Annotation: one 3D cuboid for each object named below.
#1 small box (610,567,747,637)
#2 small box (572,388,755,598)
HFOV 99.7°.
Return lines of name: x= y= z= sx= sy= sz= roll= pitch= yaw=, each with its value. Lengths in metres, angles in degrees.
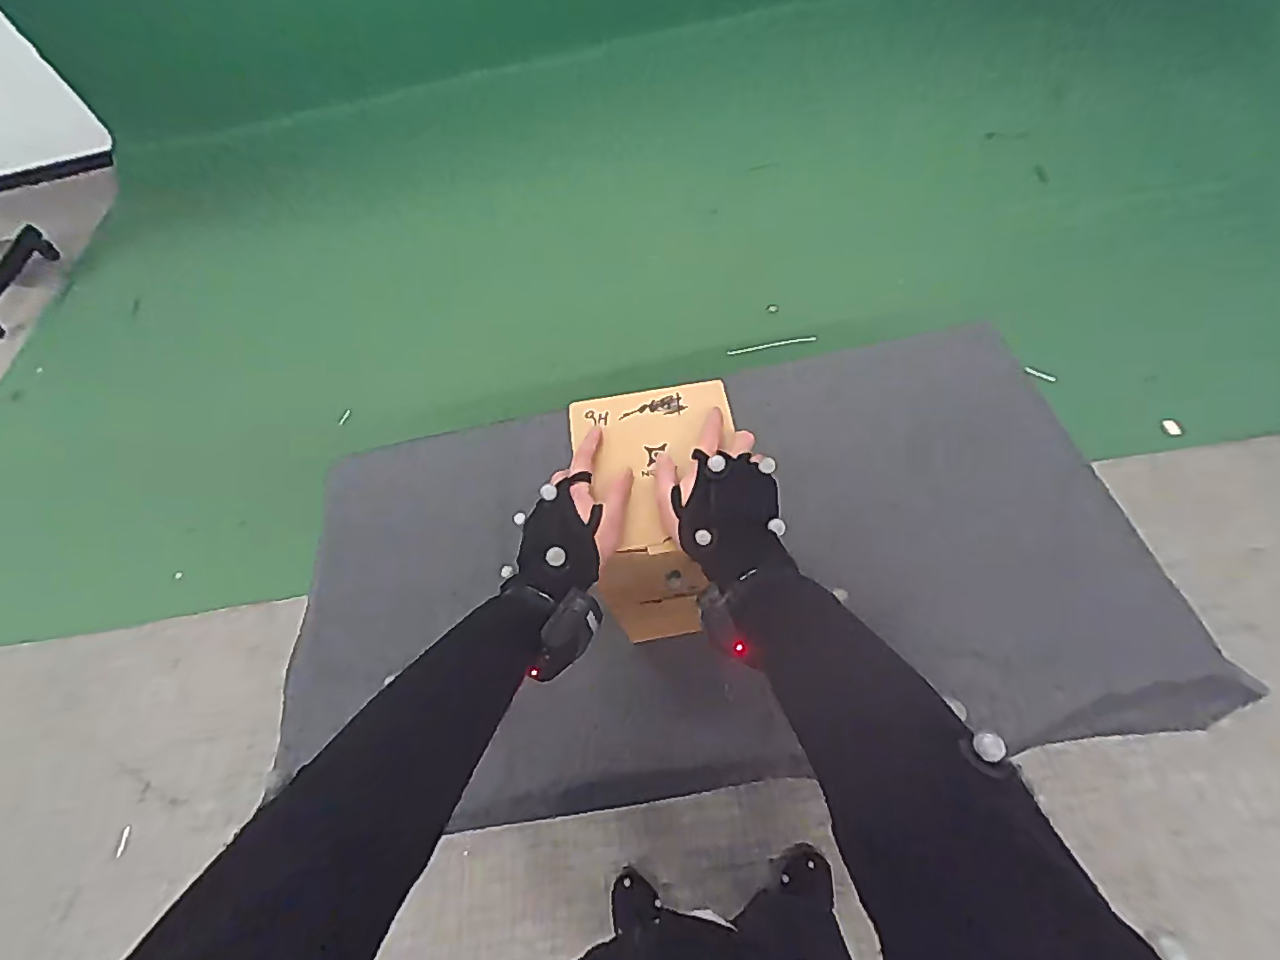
small box: x=0.045 y=0.106 z=0.741 sx=0.168 sy=0.176 sz=0.179 roll=-11 pitch=59 yaw=1
small box: x=0.024 y=0.025 z=0.603 sx=0.168 sy=0.176 sz=0.179 roll=-8 pitch=63 yaw=0
